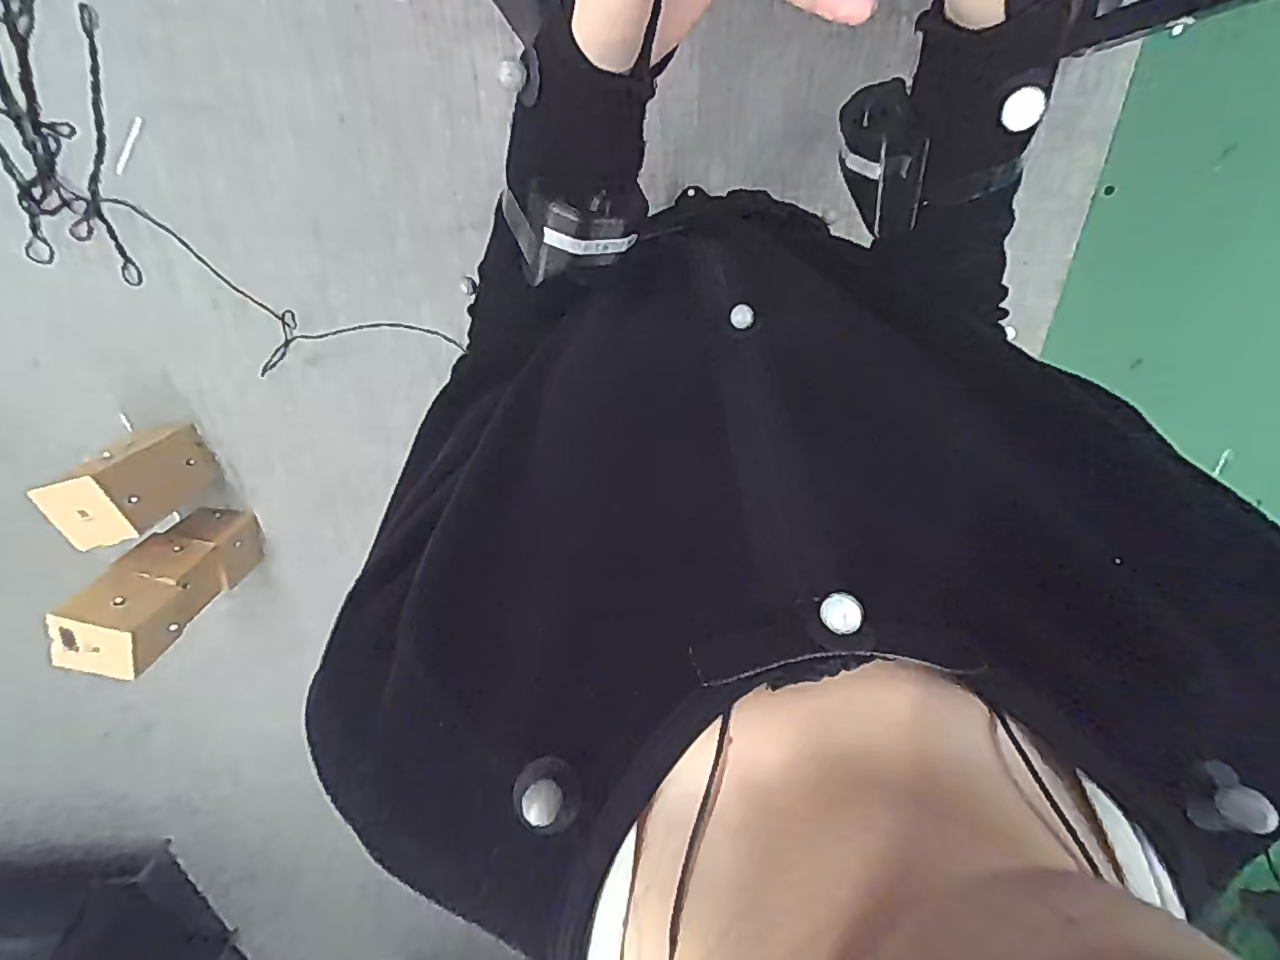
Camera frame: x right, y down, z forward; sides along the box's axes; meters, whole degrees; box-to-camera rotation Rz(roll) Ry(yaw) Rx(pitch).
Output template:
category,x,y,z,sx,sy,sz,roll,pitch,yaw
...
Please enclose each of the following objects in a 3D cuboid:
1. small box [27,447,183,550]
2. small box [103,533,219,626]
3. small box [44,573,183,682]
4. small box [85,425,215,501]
category,x,y,z,sx,sy,sz,roll,pitch,yaw
small box,-1.294,0.042,1.327,0.168,0.176,0.179,-13,117,4
small box,-1.270,0.272,1.450,0.168,0.176,0.179,14,115,-8
small box,-1.260,0.349,1.305,0.179,0.176,0.168,18,115,-11
small box,-1.310,-0.039,1.468,0.179,0.176,0.168,-8,117,3
